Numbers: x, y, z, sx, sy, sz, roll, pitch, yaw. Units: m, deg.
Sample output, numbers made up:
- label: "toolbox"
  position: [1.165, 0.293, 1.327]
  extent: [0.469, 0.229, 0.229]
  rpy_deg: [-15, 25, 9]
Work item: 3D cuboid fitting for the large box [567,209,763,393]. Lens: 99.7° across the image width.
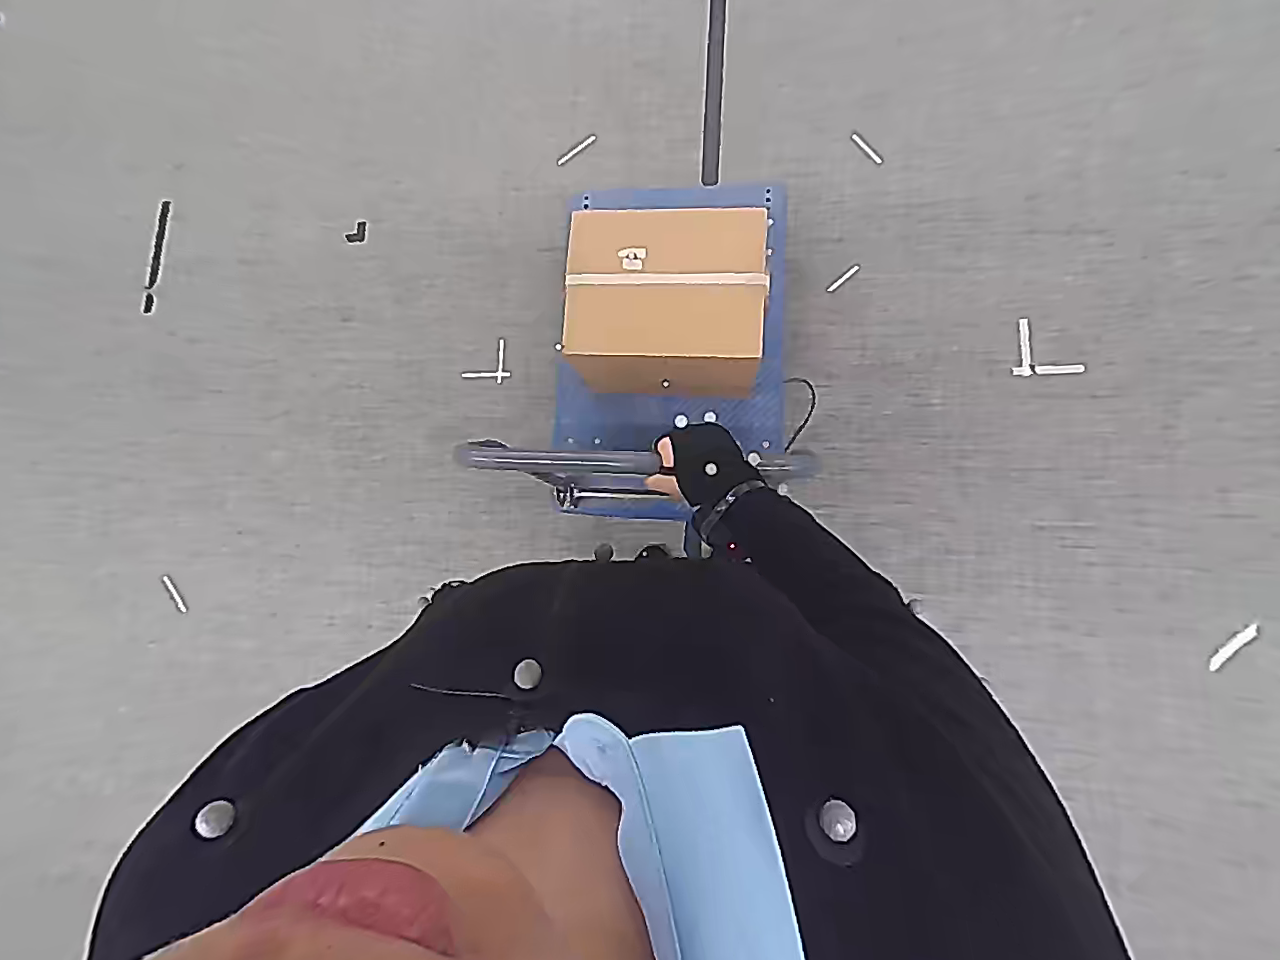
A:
- label: "large box"
  position: [0.072, -0.388, 1.256]
  extent: [0.408, 0.320, 0.320]
  rpy_deg: [2, 83, 9]
